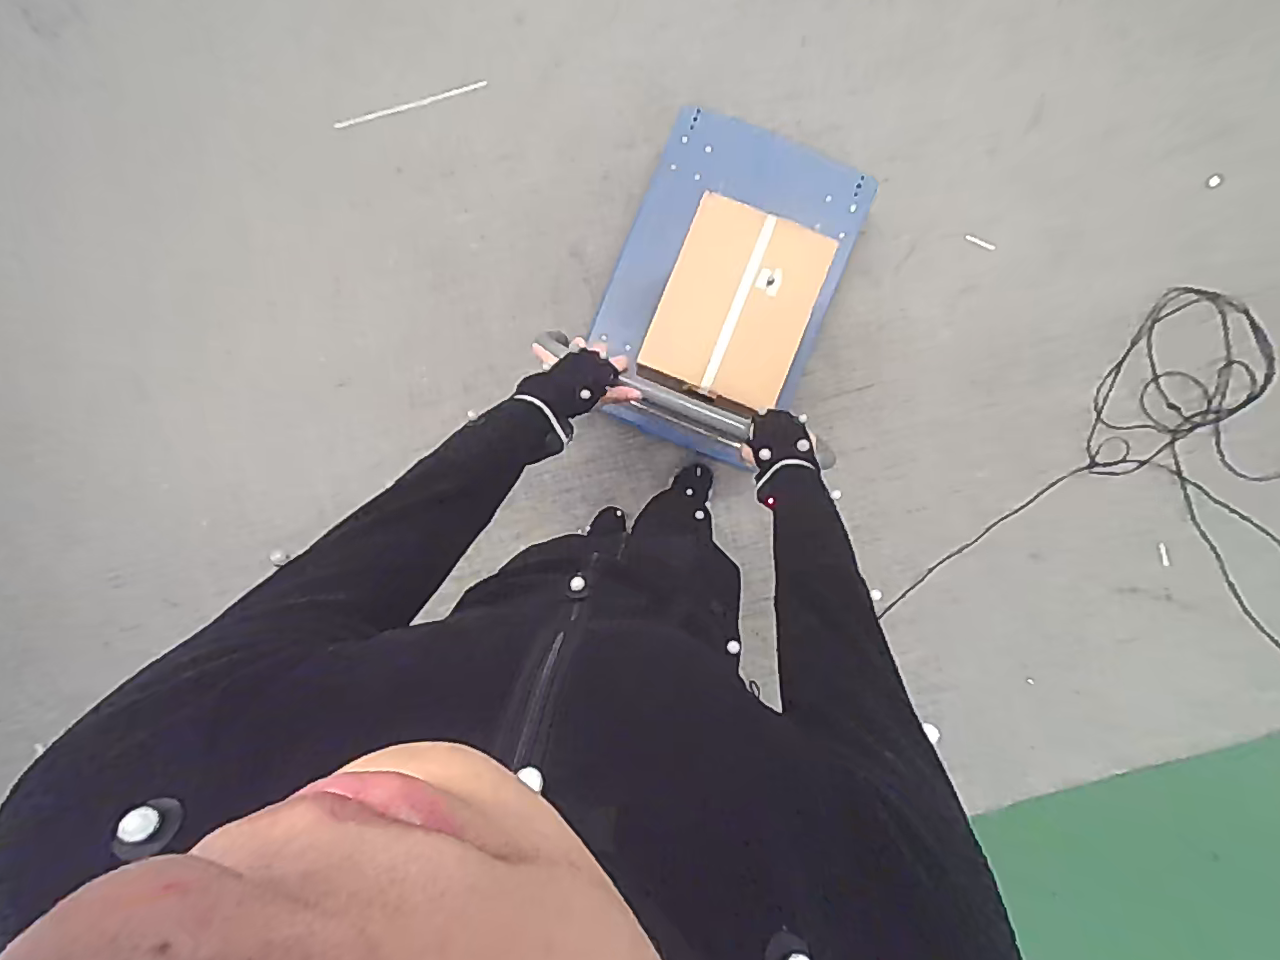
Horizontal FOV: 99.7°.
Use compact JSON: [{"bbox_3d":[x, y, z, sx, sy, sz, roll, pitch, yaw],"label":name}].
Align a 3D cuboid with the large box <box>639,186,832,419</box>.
[{"bbox_3d":[0.206,-0.401,1.321,0.320,0.320,0.408,22,89,-1],"label":"large box"}]
